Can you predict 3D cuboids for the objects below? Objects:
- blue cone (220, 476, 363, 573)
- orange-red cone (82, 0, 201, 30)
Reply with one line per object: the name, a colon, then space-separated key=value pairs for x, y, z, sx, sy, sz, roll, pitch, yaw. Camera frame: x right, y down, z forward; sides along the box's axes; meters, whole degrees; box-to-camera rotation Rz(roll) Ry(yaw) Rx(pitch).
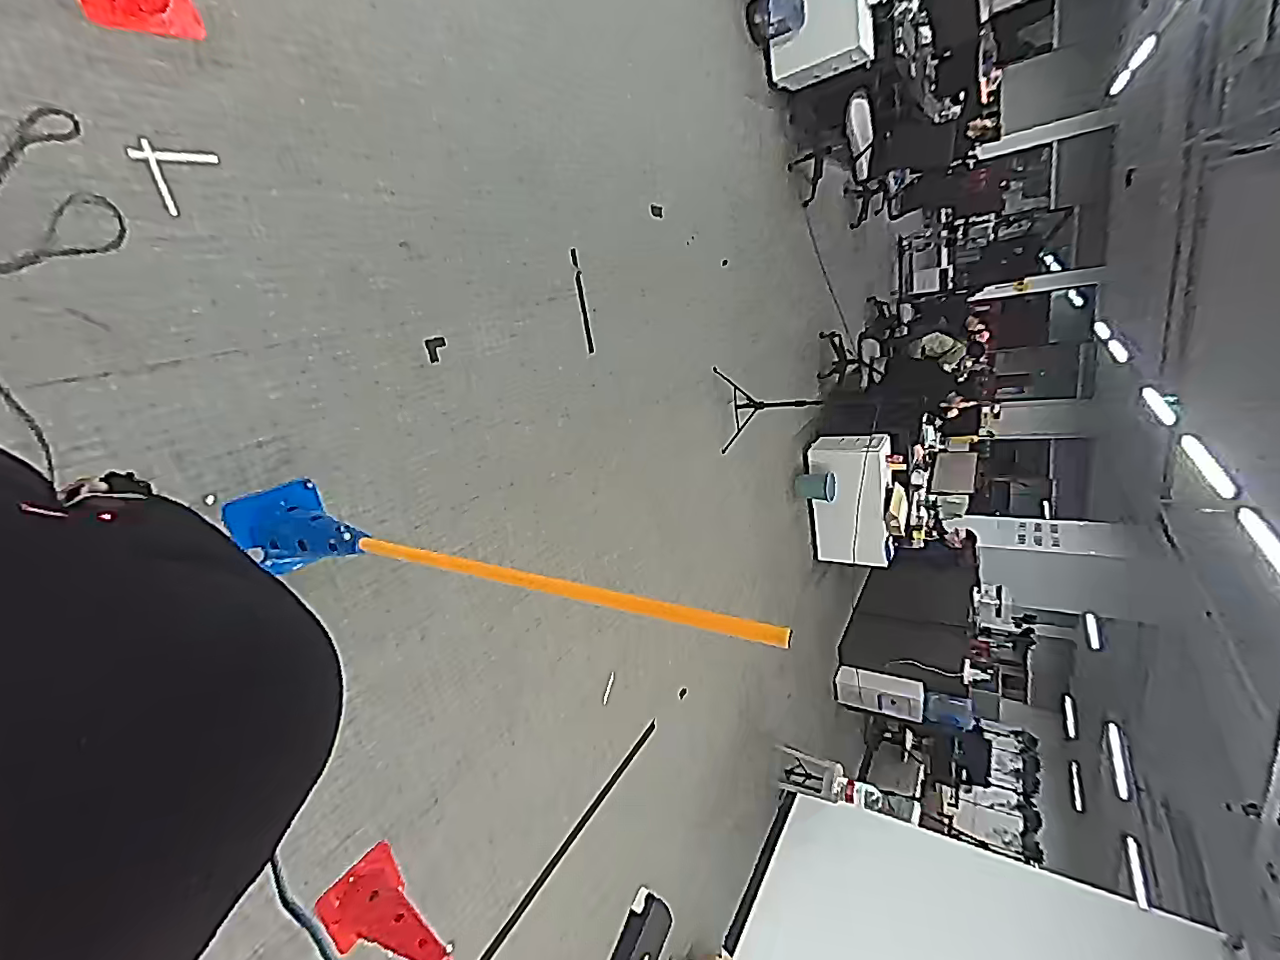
blue cone: x=-0.710 y=0.107 z=1.167 sx=0.193 sy=0.380 sz=0.192 roll=-30 pitch=115 yaw=-52
orange-red cone: x=-0.831 y=-0.967 z=0.912 sx=0.199 sy=0.360 sz=0.198 roll=-39 pitch=122 yaw=-47
